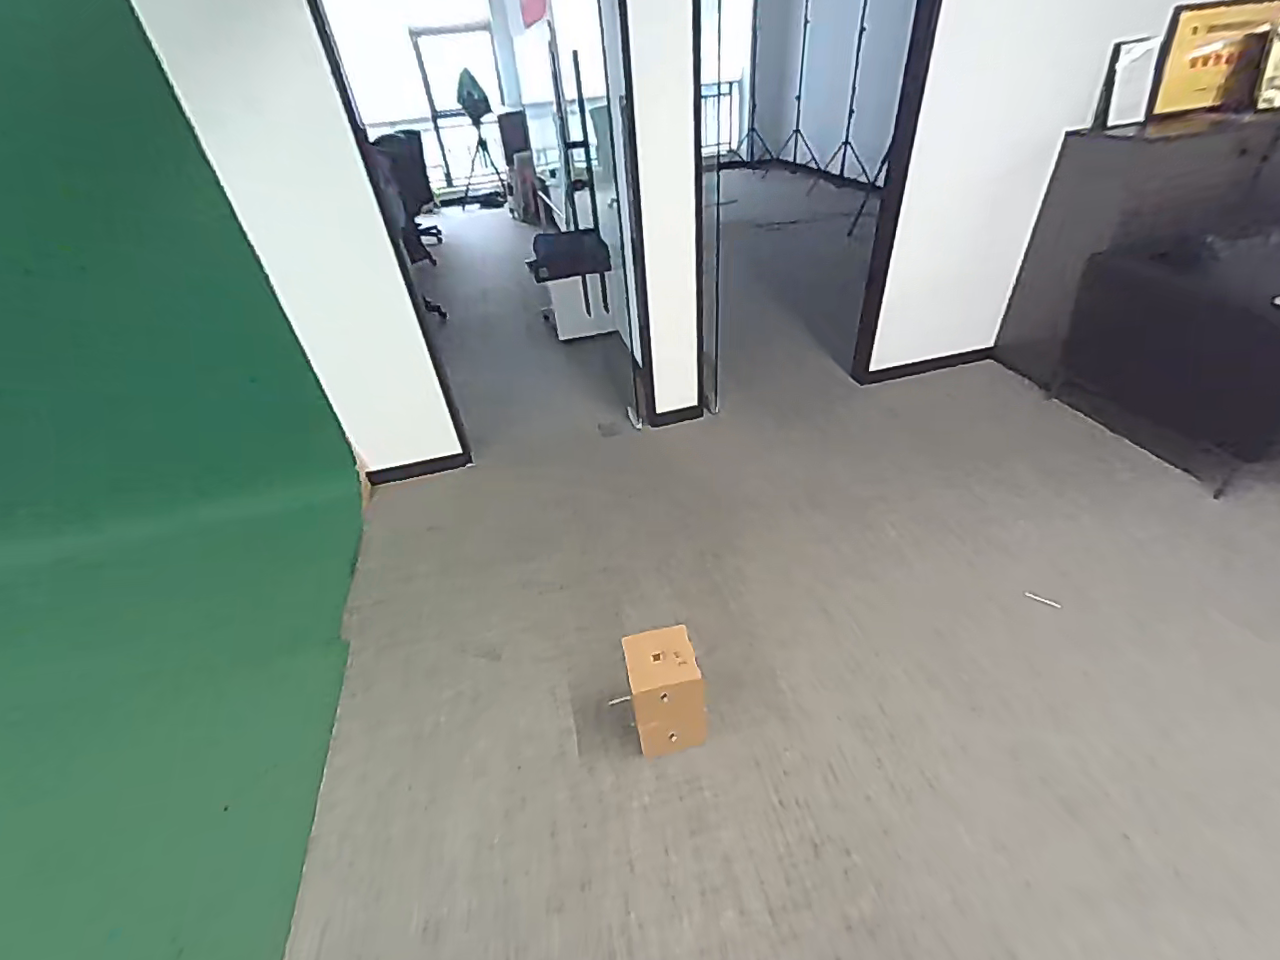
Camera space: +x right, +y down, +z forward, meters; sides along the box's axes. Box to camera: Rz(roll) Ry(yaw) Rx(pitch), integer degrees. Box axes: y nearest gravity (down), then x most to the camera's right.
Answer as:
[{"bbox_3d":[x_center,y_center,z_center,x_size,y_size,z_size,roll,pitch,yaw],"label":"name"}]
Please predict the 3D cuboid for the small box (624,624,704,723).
[{"bbox_3d":[0.064,0.510,1.418,0.179,0.176,0.168,-11,39,-5],"label":"small box"}]
